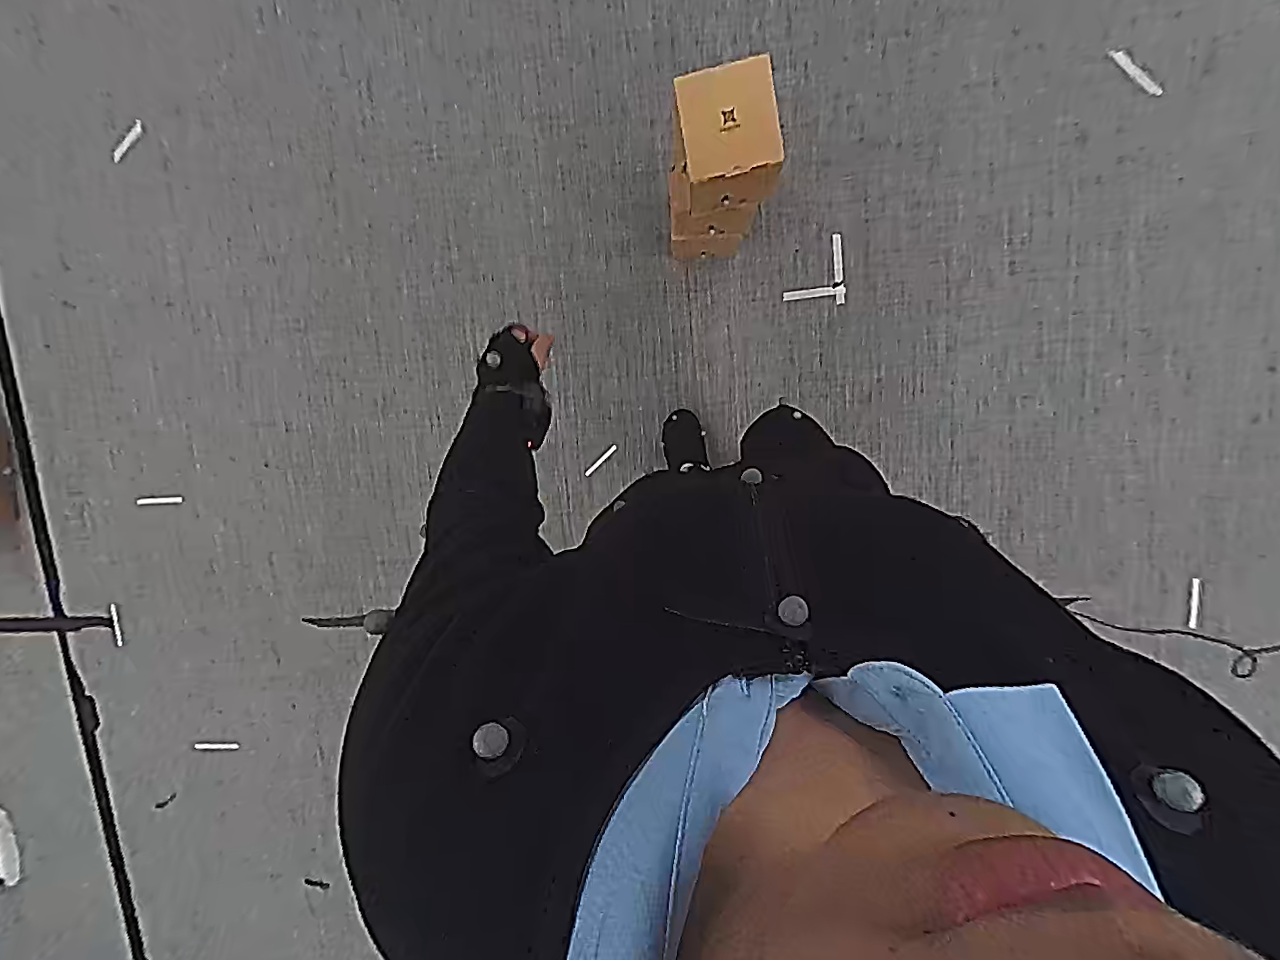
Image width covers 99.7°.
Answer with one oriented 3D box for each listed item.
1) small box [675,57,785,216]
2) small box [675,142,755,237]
[{"bbox_3d":[0.158,-0.619,0.997,0.168,0.176,0.179,-11,97,6],"label":"small box"},{"bbox_3d":[0.159,-0.639,1.159,0.168,0.176,0.179,1,98,6],"label":"small box"}]
